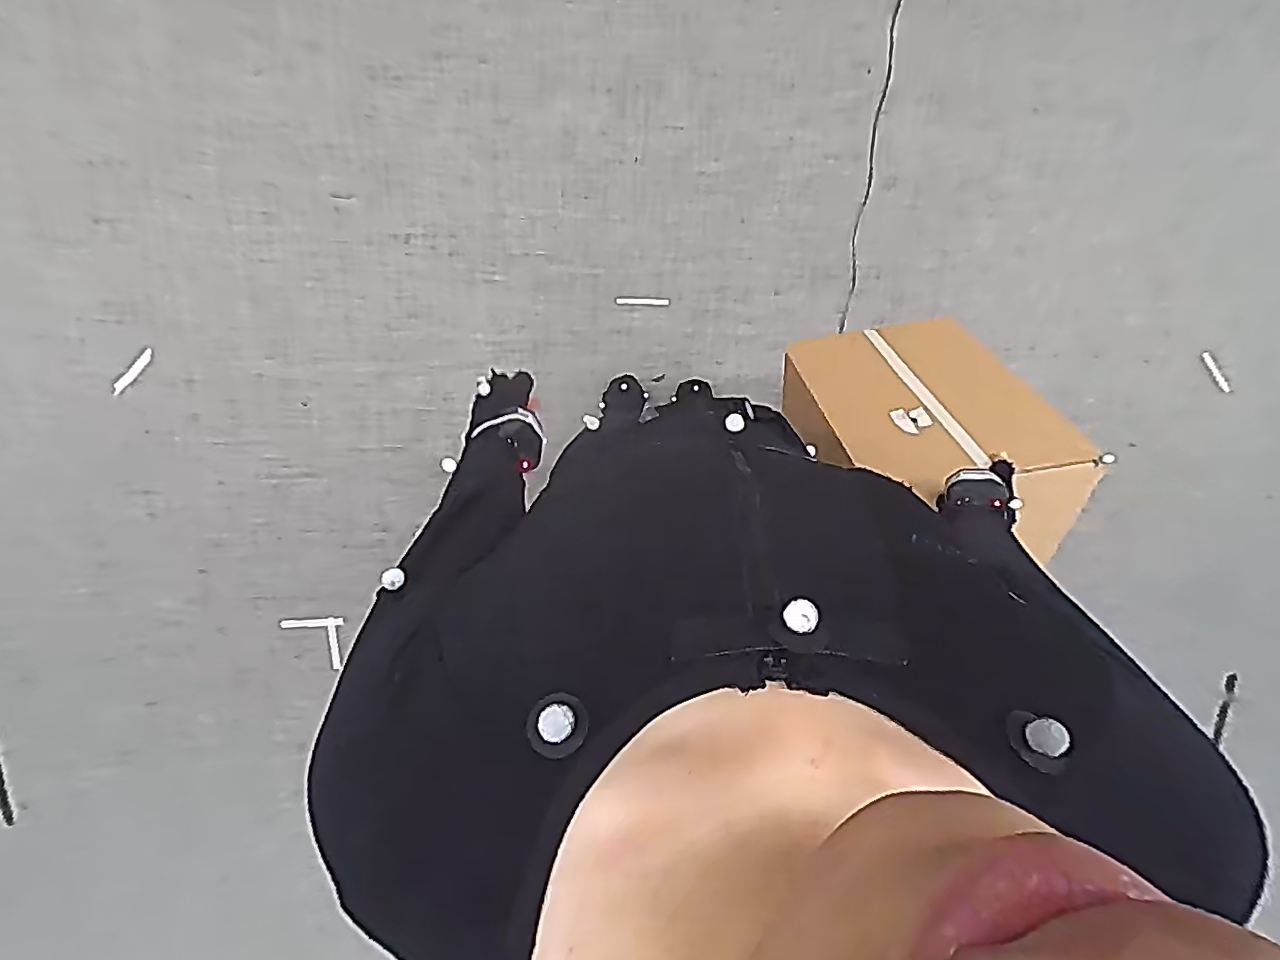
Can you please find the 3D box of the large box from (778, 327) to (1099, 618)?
[{"bbox_3d":[0.465,-0.022,0.974,0.320,0.408,0.320,-10,134,1],"label":"large box"}]
